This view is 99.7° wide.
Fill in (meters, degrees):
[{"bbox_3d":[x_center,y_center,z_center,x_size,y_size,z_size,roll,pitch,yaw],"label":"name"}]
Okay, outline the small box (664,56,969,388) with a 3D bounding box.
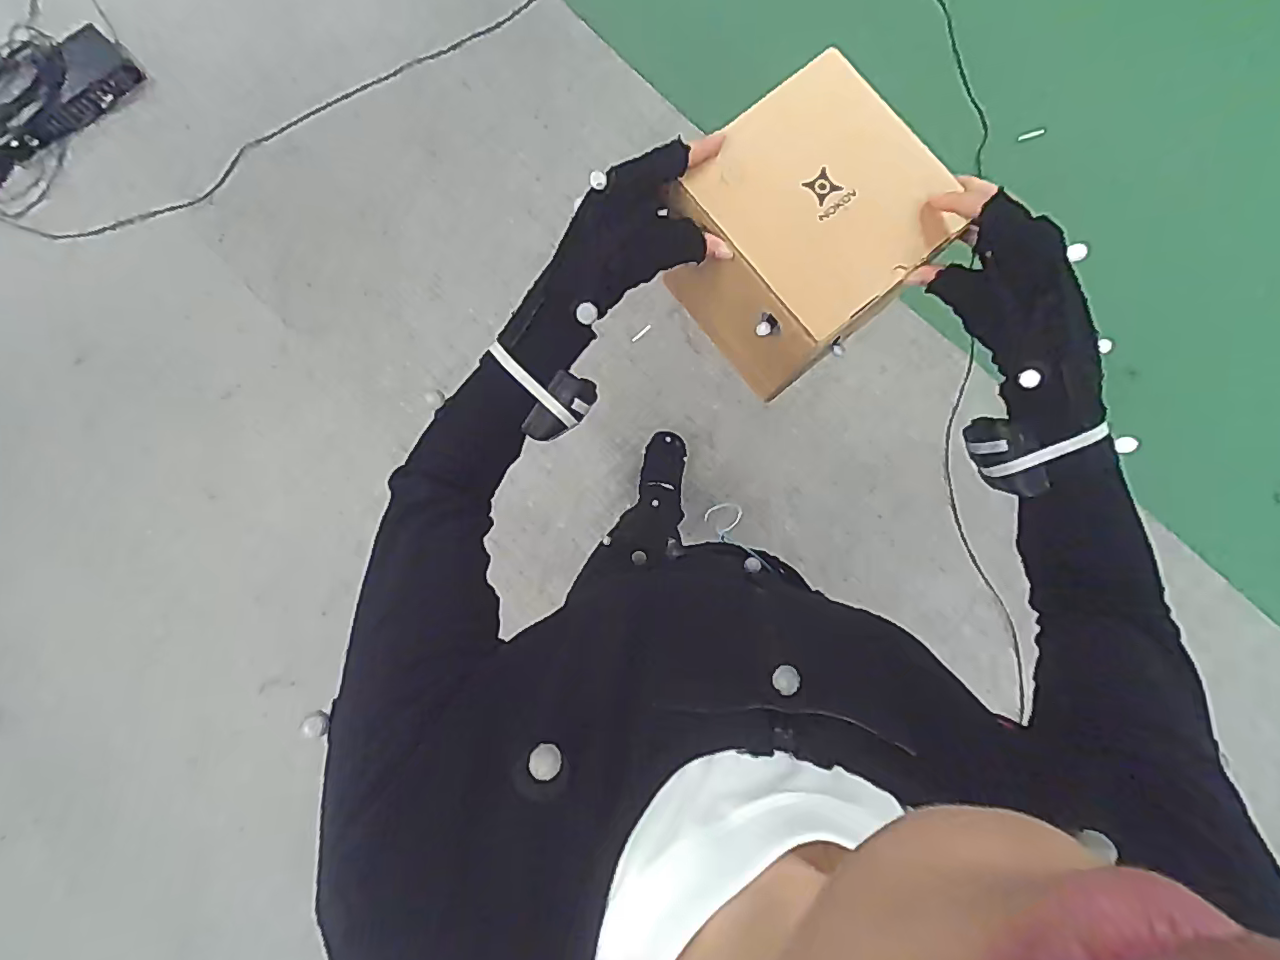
[{"bbox_3d":[0.136,-0.212,0.493,0.168,0.176,0.179,-38,86,-5],"label":"small box"}]
